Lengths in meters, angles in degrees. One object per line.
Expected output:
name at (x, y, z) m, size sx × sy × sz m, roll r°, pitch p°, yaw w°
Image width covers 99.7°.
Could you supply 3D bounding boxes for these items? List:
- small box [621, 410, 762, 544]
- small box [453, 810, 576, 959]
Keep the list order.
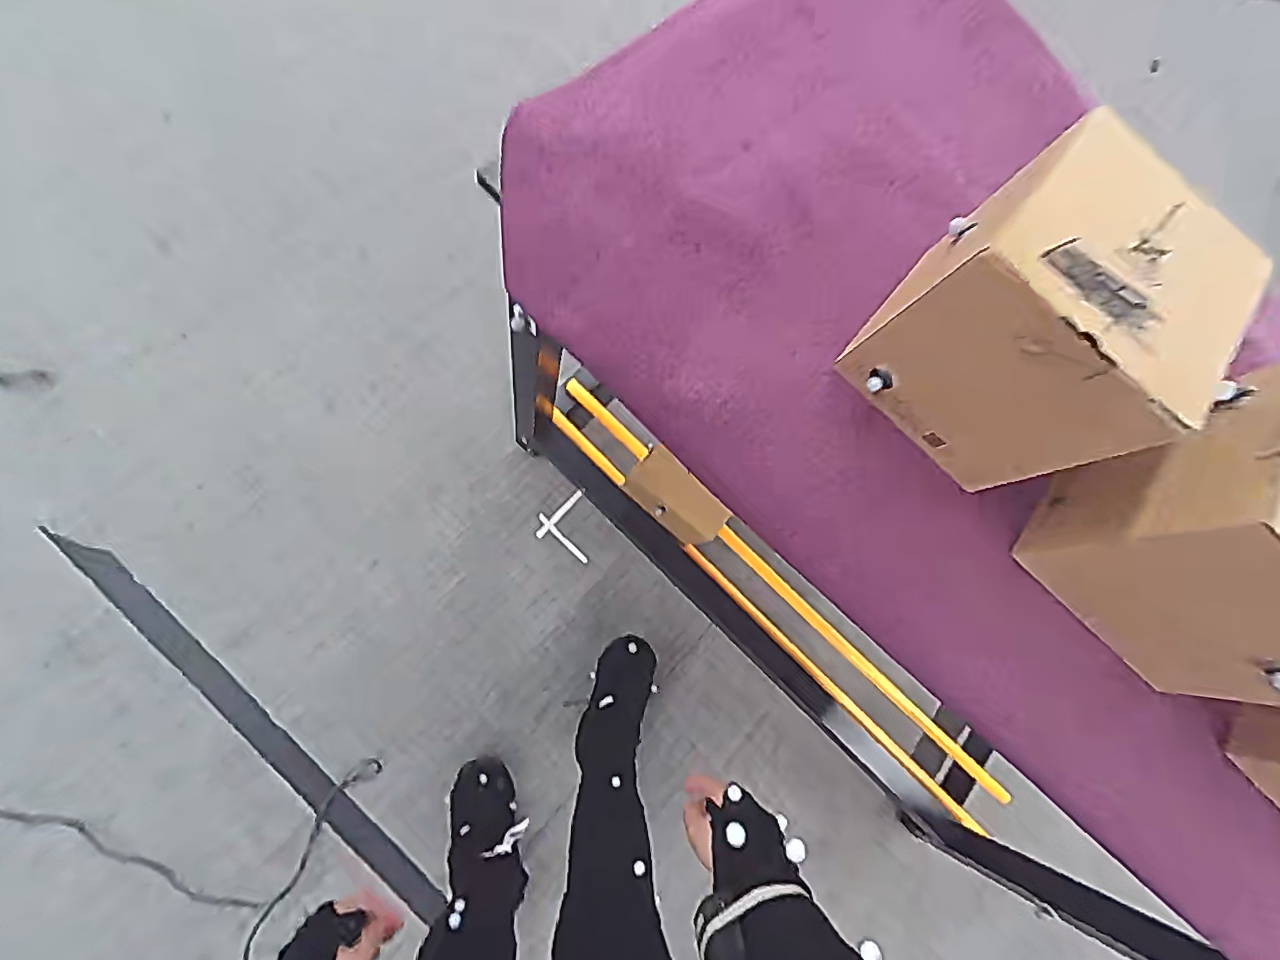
small box at (0.087, 0.005, 1.000) m, size 0.179 × 0.176 × 0.168 m, roll 40°, pitch 74°, yaw 0°
small box at (-0.205, 0.657, 0.877) m, size 0.179 × 0.176 × 0.168 m, roll 5°, pitch 73°, yaw -14°
